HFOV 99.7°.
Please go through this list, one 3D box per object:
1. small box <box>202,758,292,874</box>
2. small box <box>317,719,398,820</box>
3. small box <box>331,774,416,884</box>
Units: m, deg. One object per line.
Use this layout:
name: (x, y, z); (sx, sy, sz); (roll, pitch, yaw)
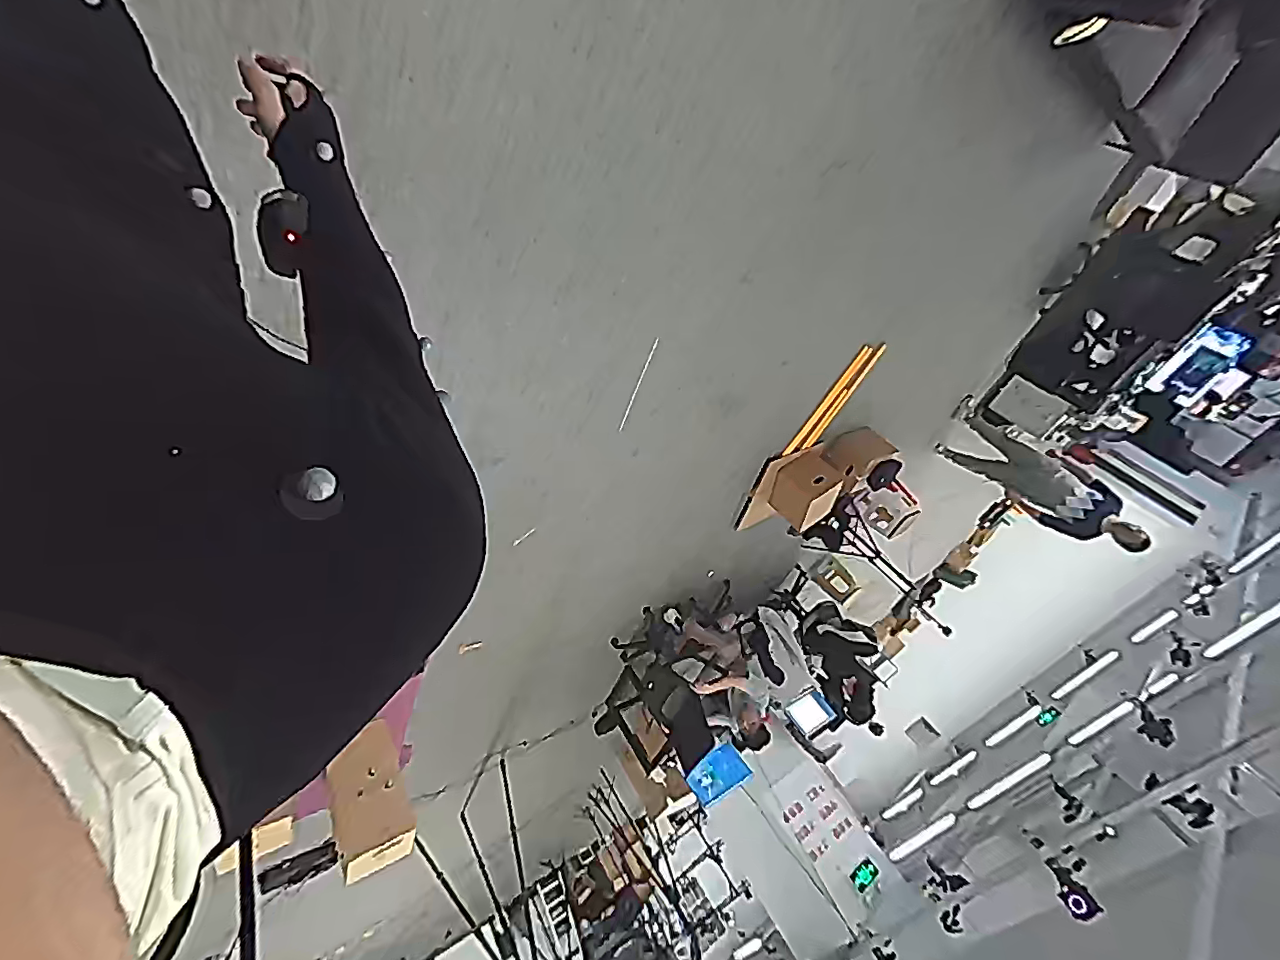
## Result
small box: (-1.001, 0.851, 1.383); (0.168, 0.176, 0.179); (-10, 136, -40)
small box: (-0.810, 0.821, 1.544); (0.168, 0.176, 0.179); (-9, 137, -40)
small box: (-0.720, 0.926, 1.454); (0.168, 0.176, 0.179); (-9, 136, -39)
